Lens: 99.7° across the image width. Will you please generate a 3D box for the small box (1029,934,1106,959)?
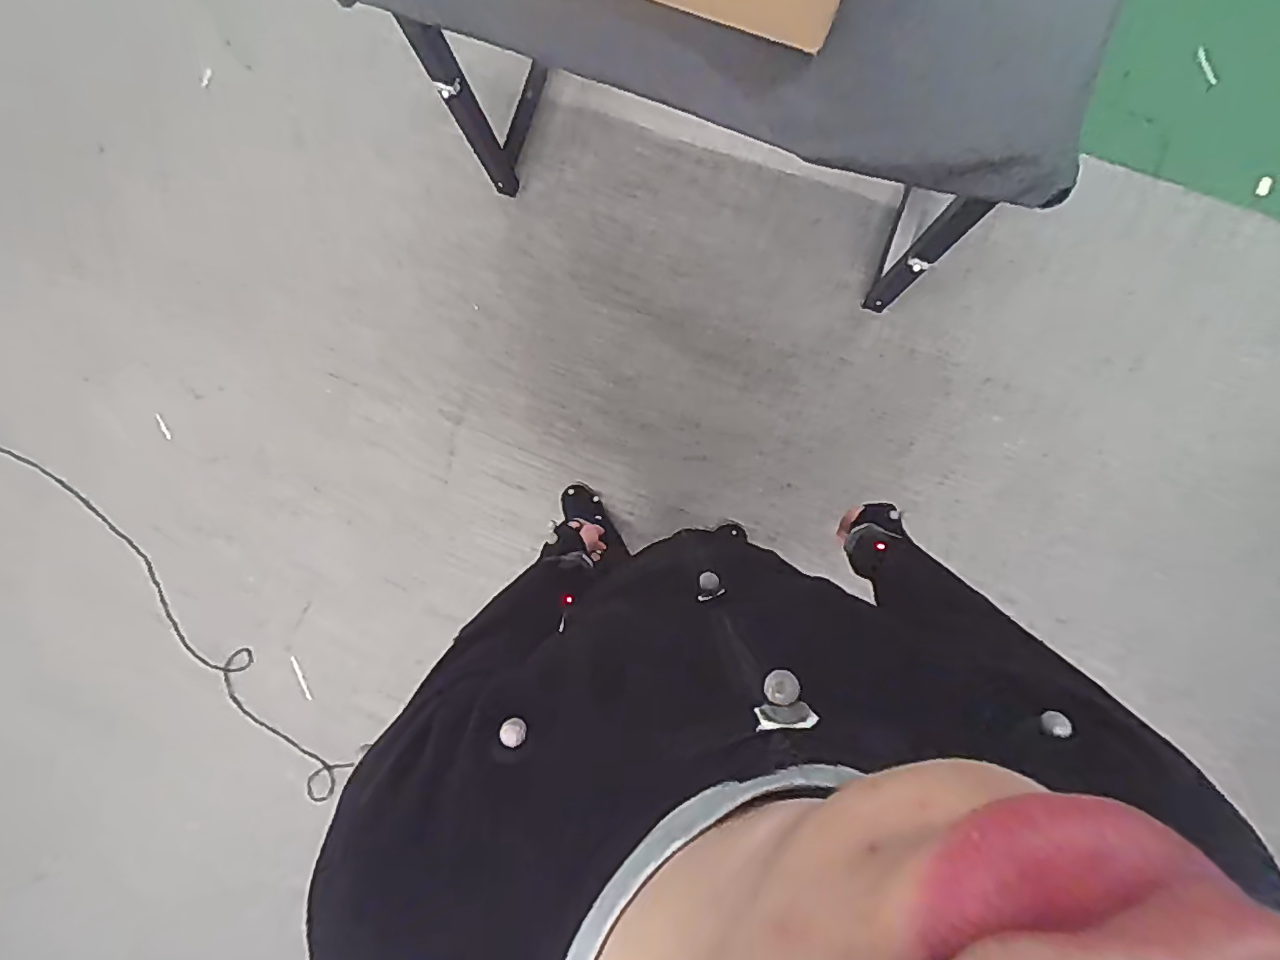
[{"bbox_3d":[0.920,1.094,1.101,0.168,0.176,0.179,16,85,3],"label":"small box"}]
